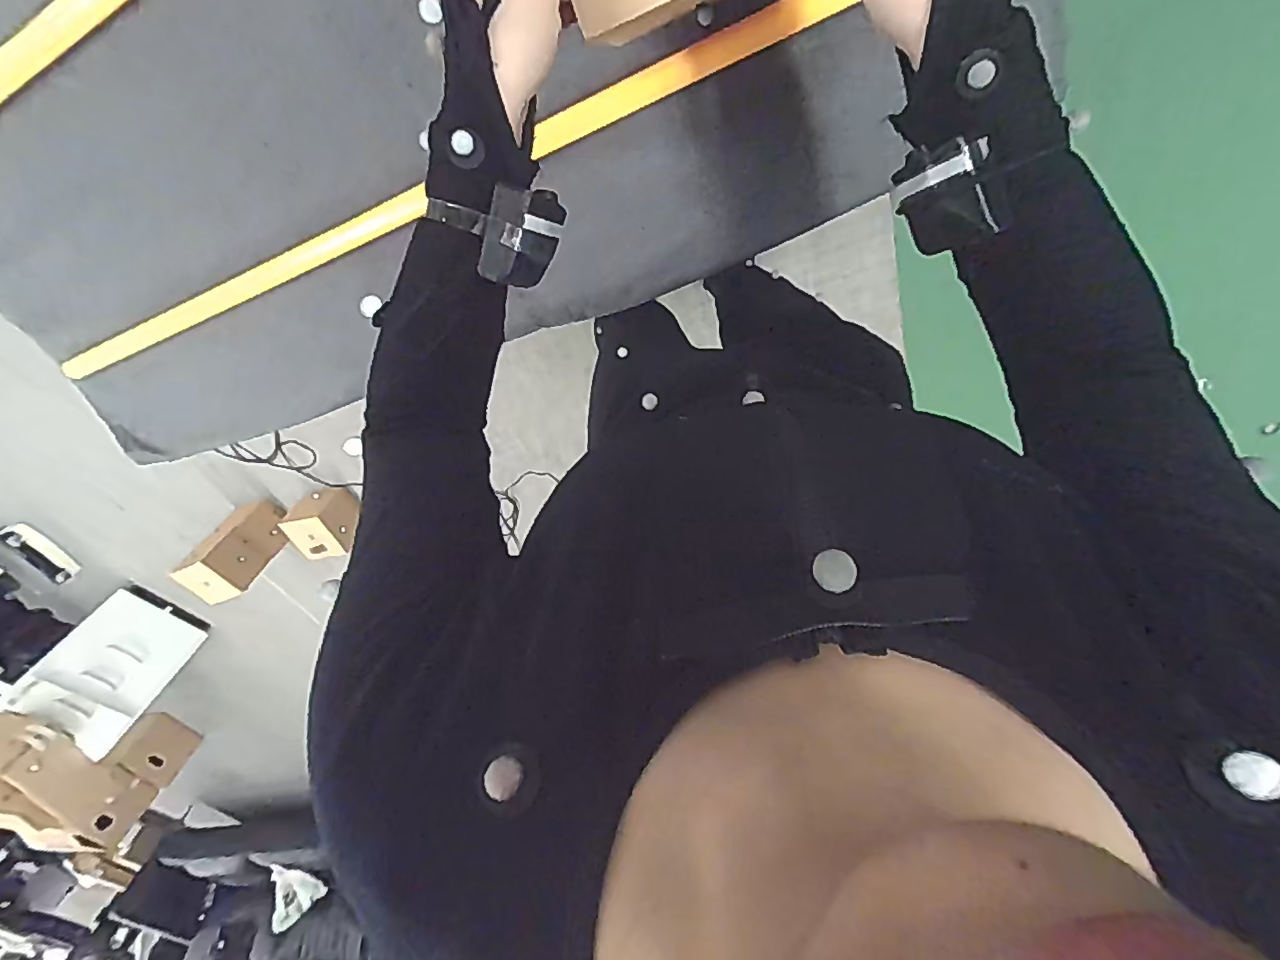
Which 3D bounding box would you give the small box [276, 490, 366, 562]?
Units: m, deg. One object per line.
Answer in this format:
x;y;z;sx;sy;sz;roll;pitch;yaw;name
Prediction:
-1.094;0.158;1.876;0.168;0.176;0.179;-10;126;14;small box

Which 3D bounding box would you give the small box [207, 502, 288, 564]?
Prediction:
-1.400;0.202;1.950;0.179;0.176;0.168;-17;125;20;small box

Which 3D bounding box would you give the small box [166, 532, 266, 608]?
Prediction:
-1.411;0.298;1.817;0.179;0.176;0.168;-18;124;21;small box
